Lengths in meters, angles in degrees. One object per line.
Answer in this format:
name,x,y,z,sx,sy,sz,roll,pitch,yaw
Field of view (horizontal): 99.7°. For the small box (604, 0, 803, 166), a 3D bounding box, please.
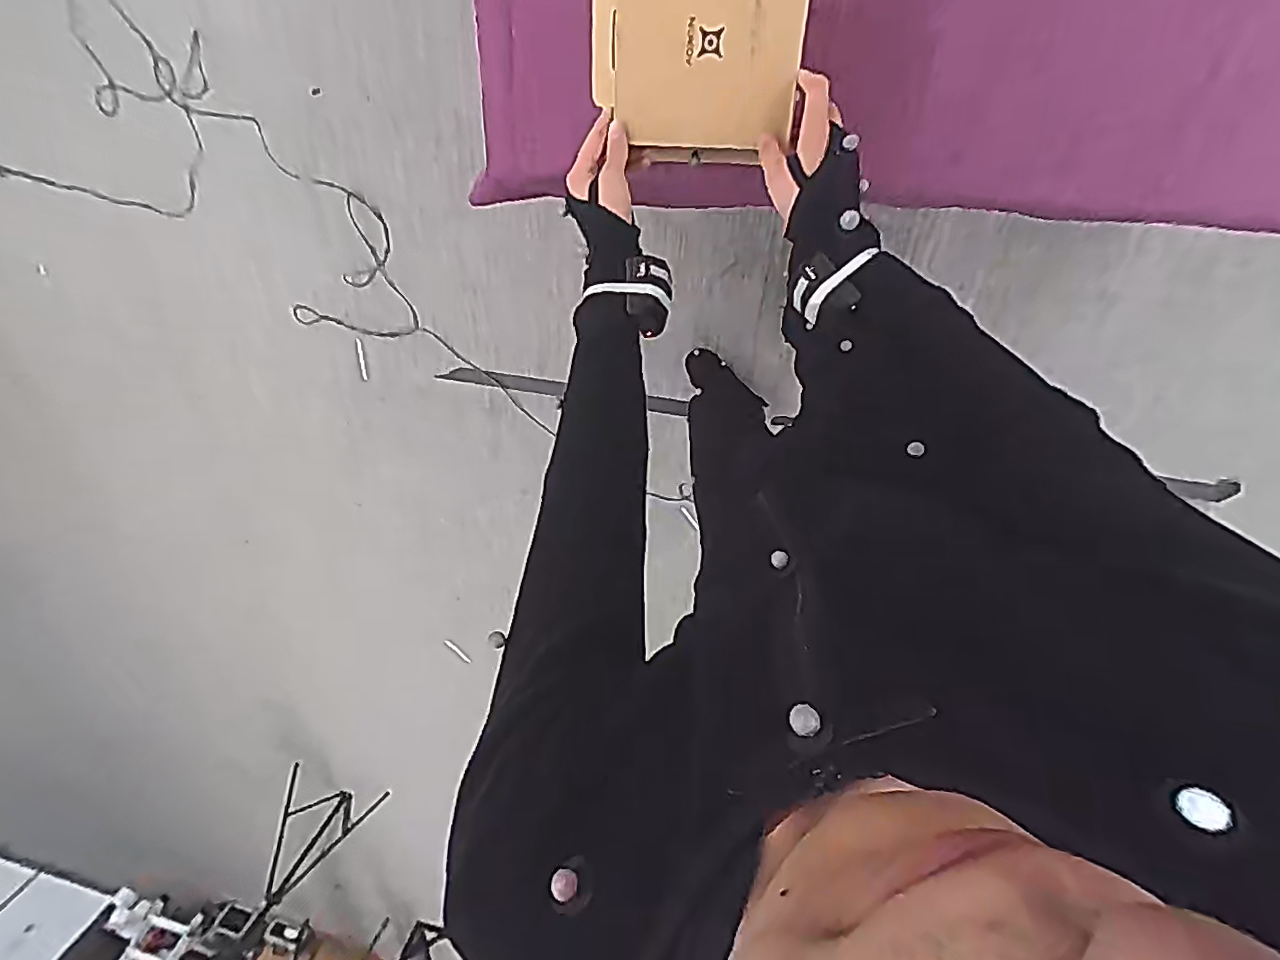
small box,0.065,-0.430,0.563,0.179,0.176,0.168,6,117,5
